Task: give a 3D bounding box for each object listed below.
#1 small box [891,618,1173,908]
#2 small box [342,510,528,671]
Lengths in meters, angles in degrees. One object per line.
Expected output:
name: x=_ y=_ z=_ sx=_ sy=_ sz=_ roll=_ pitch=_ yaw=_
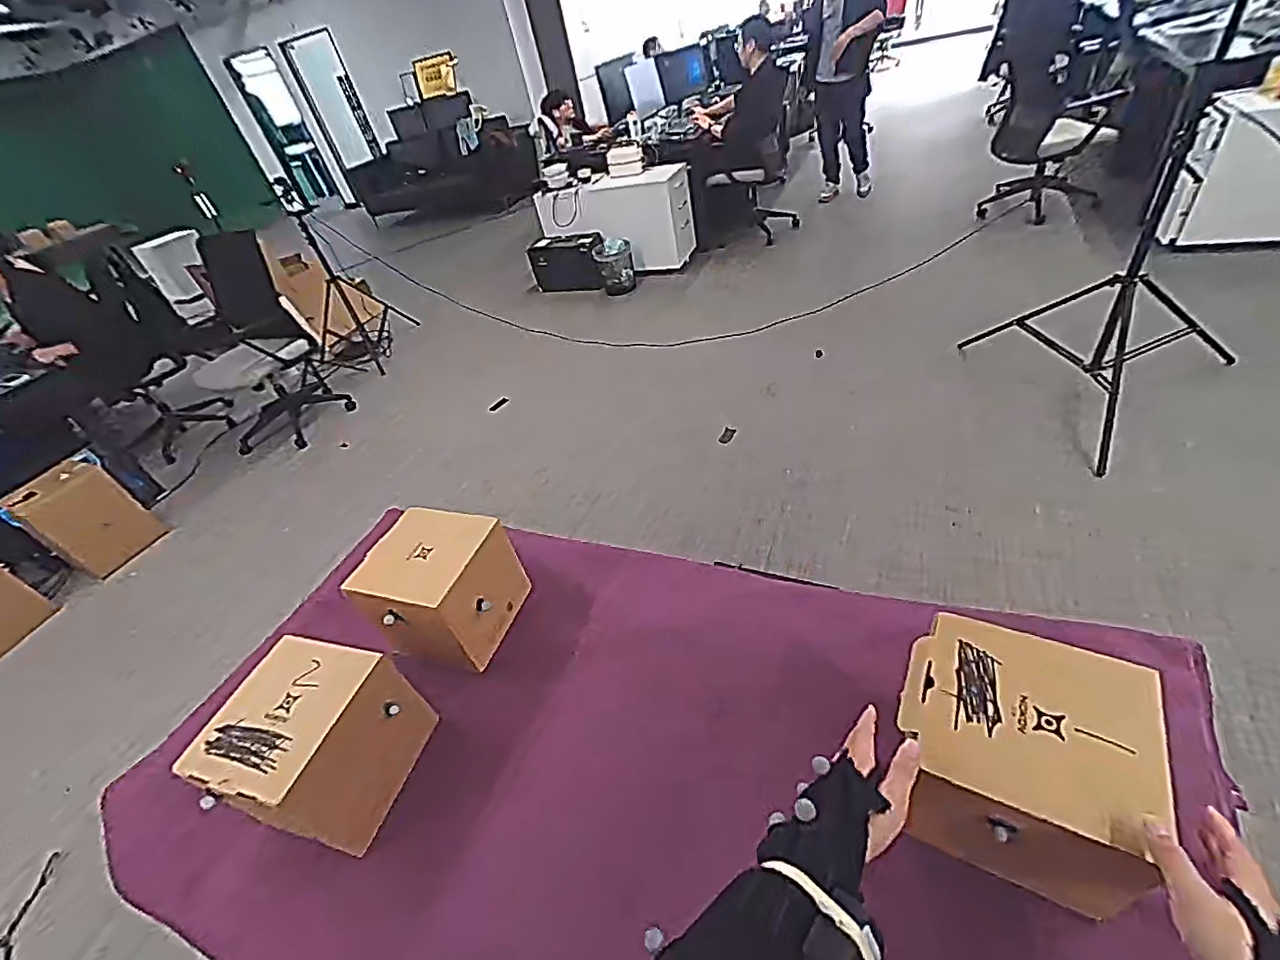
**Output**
small box: x=0.353 y=0.268 z=0.519 sx=0.179 sy=0.176 sz=0.168 roll=13 pitch=49 yaw=27
small box: x=-0.298 y=0.169 z=0.831 sx=0.179 sy=0.176 sz=0.168 roll=5 pitch=43 yaw=21
